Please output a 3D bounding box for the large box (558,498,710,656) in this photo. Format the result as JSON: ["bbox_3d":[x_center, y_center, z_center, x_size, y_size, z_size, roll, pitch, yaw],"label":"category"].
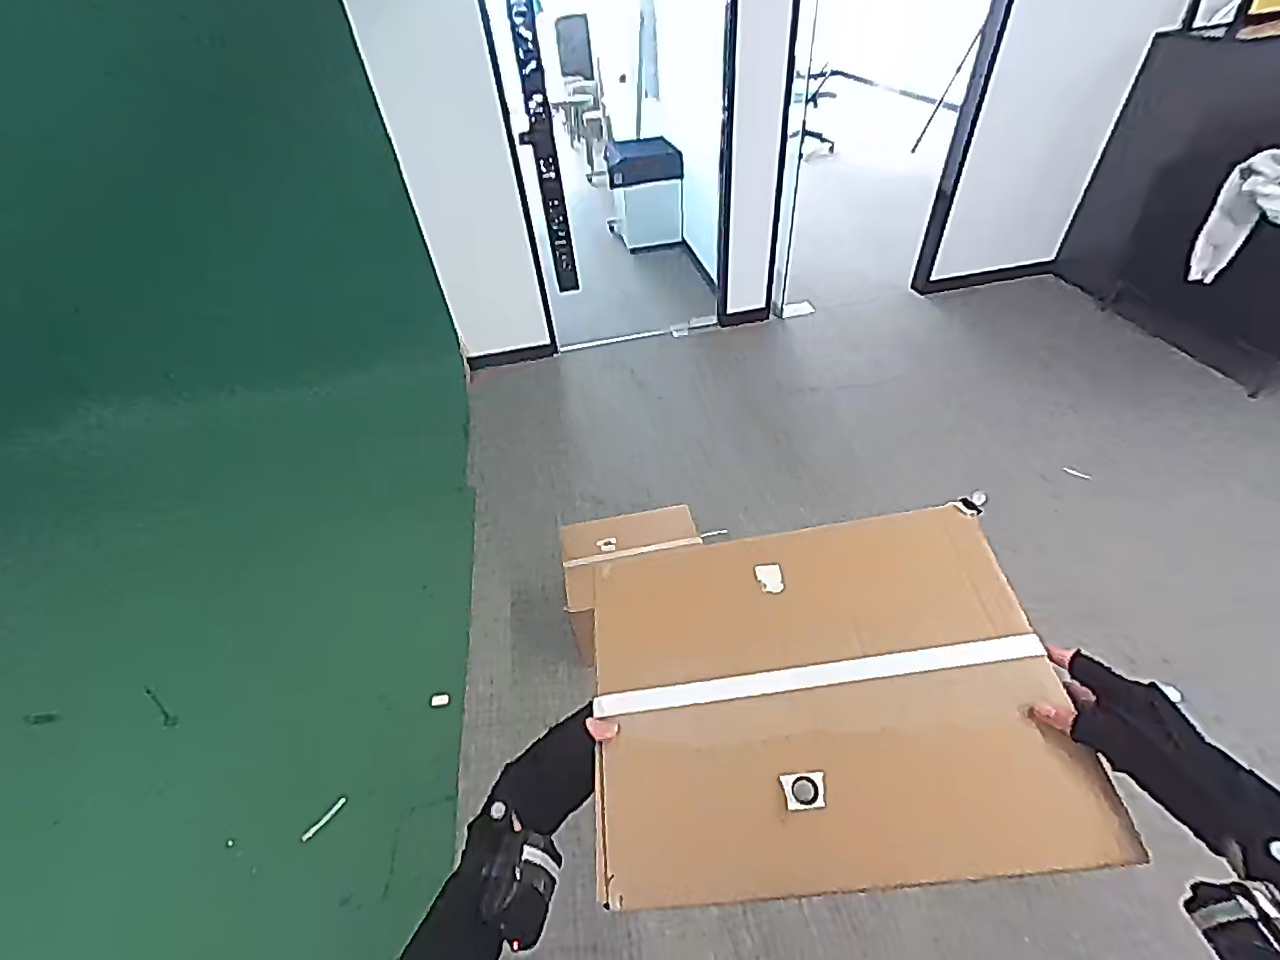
[{"bbox_3d":[-0.018,0.301,1.664,0.408,0.320,0.320,-10,44,-4],"label":"large box"}]
